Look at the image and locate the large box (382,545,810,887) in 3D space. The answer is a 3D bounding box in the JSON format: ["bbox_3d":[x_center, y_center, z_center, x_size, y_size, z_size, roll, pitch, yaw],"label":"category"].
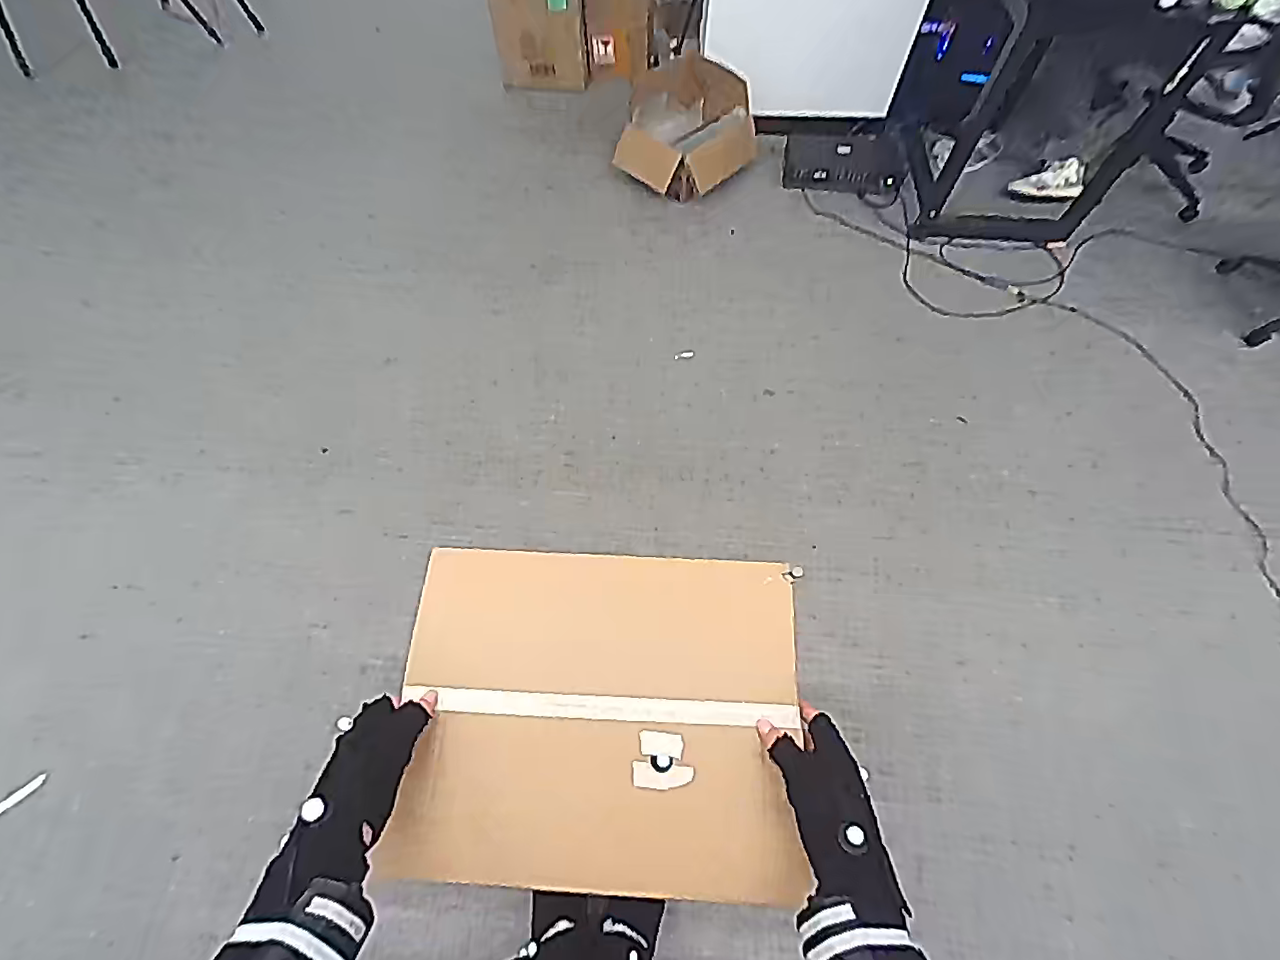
[{"bbox_3d":[-0.036,0.280,0.688,0.408,0.320,0.320,2,68,2],"label":"large box"}]
